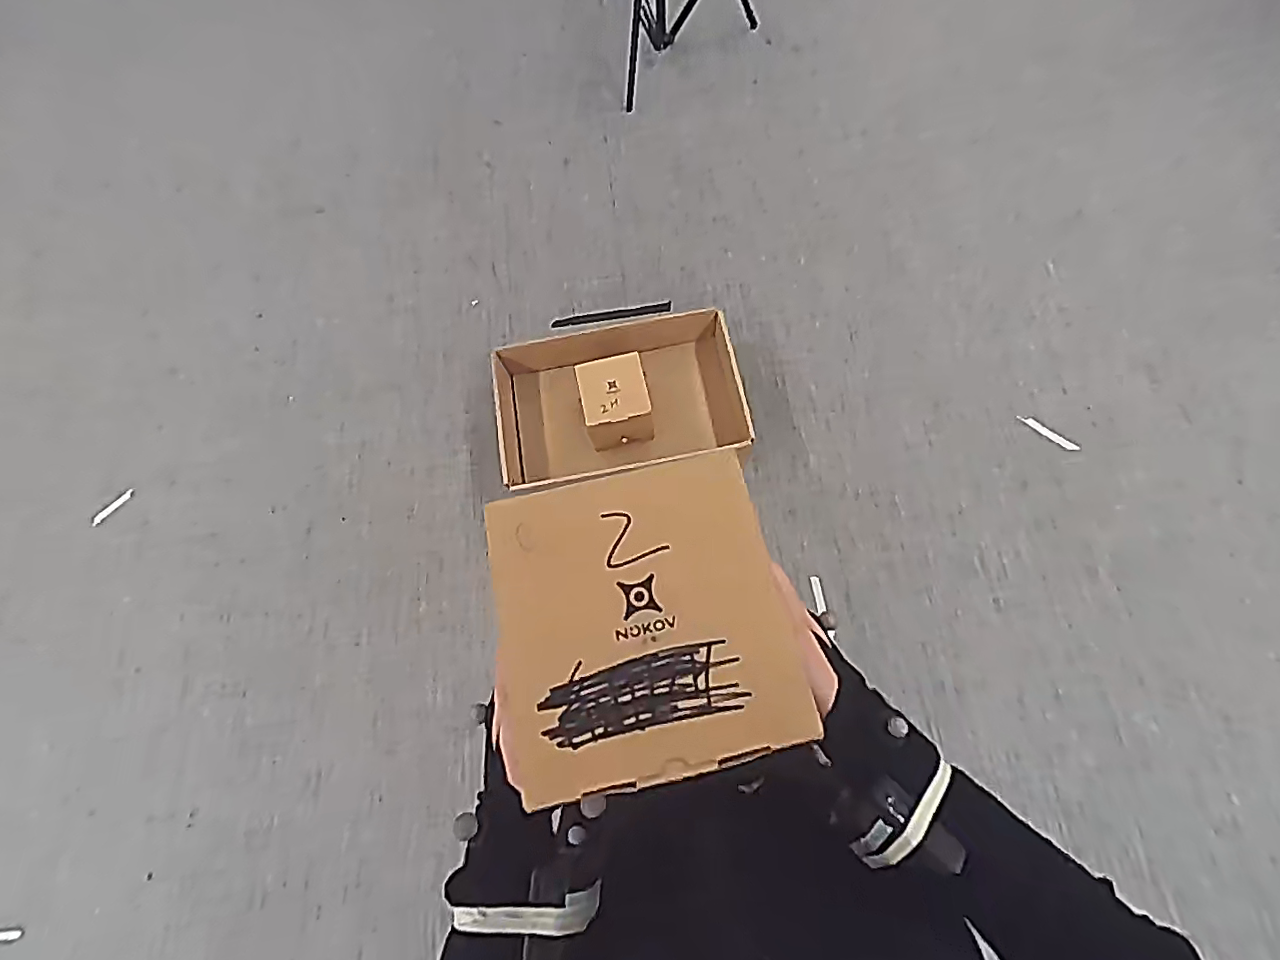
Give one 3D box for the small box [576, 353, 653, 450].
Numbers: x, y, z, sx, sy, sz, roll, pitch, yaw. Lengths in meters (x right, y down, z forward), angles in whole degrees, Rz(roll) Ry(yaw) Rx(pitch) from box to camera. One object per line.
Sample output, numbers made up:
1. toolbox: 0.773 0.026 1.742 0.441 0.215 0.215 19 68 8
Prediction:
1. small box: -0.064 -0.199 1.409 0.168 0.176 0.179 -12 72 0
